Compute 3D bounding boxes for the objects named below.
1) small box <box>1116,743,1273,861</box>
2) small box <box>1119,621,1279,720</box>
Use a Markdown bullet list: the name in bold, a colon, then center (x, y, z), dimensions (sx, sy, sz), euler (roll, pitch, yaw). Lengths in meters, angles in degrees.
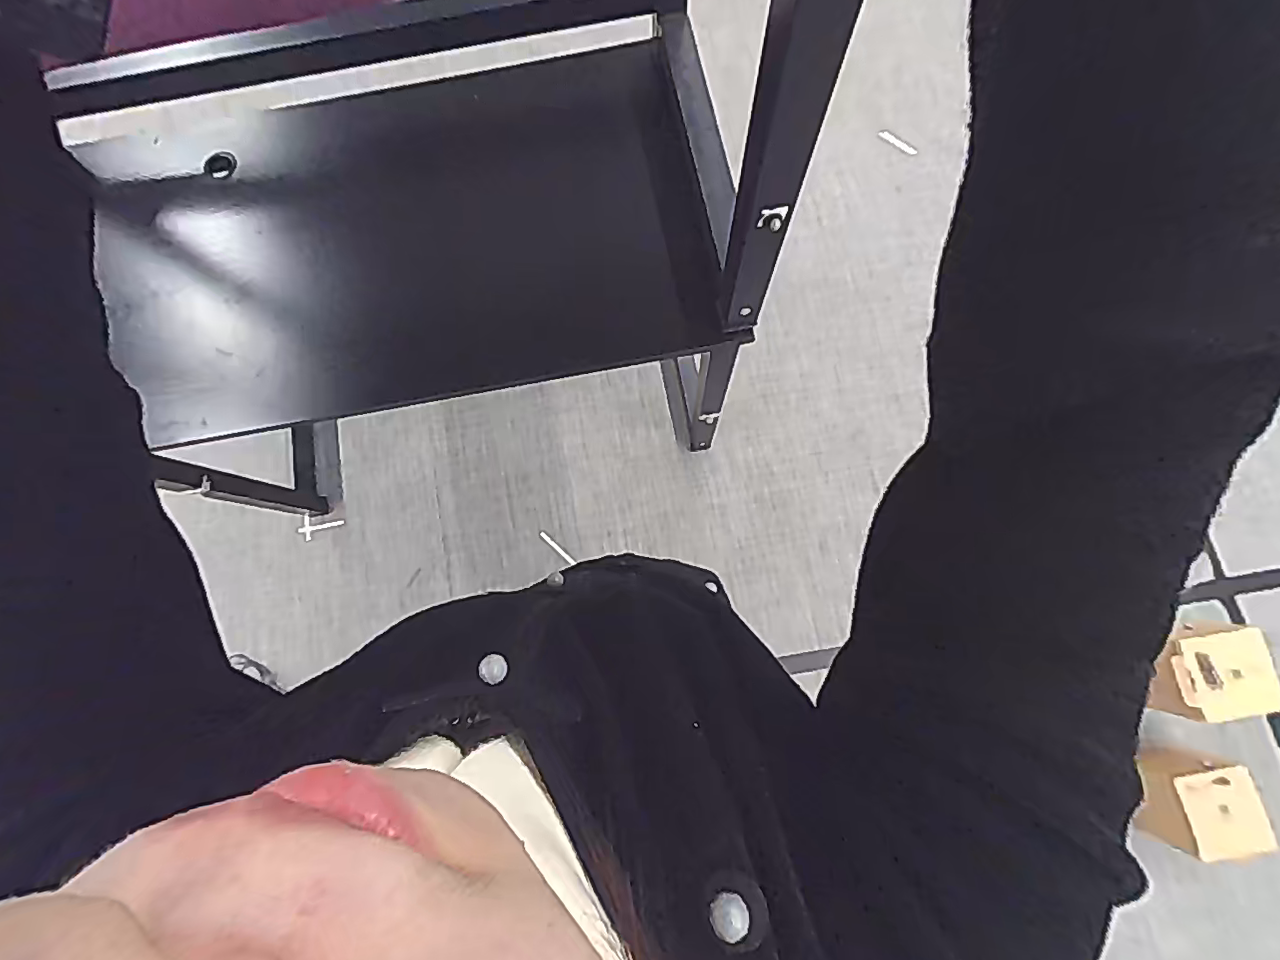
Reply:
- **small box**: center (1.288, 0.747, 1.271), dimensions (0.168, 0.176, 0.179), euler (-11, 80, 0)
- **small box**: center (1.197, 0.405, 1.172), dimensions (0.179, 0.176, 0.168), euler (-9, 80, -1)
